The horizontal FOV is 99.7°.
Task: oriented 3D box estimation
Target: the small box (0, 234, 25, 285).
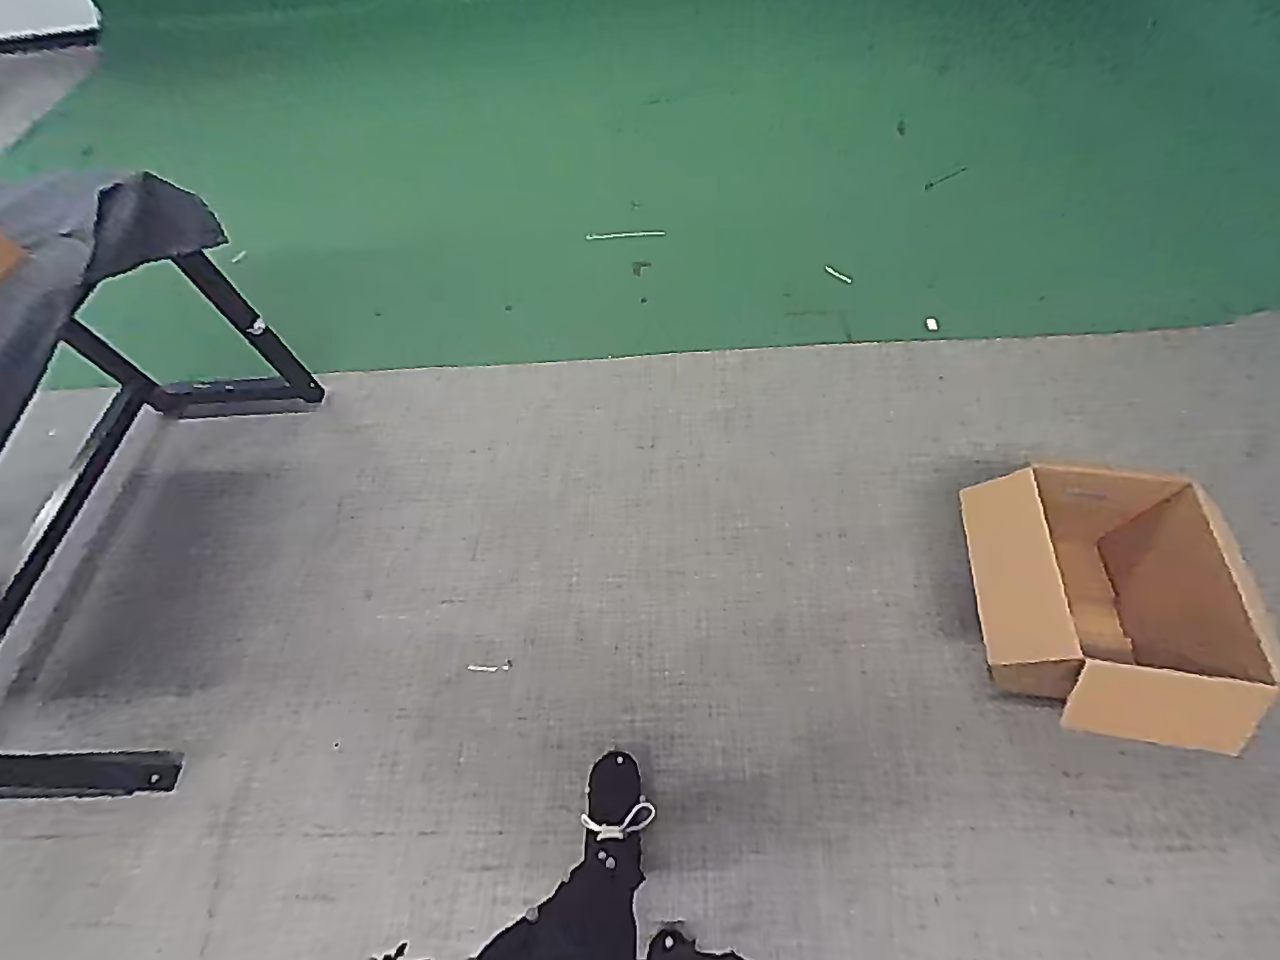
[{"bbox_3d":[-1.302,-0.415,0.973,0.168,0.176,0.179,-1,58,4],"label":"small box"}]
